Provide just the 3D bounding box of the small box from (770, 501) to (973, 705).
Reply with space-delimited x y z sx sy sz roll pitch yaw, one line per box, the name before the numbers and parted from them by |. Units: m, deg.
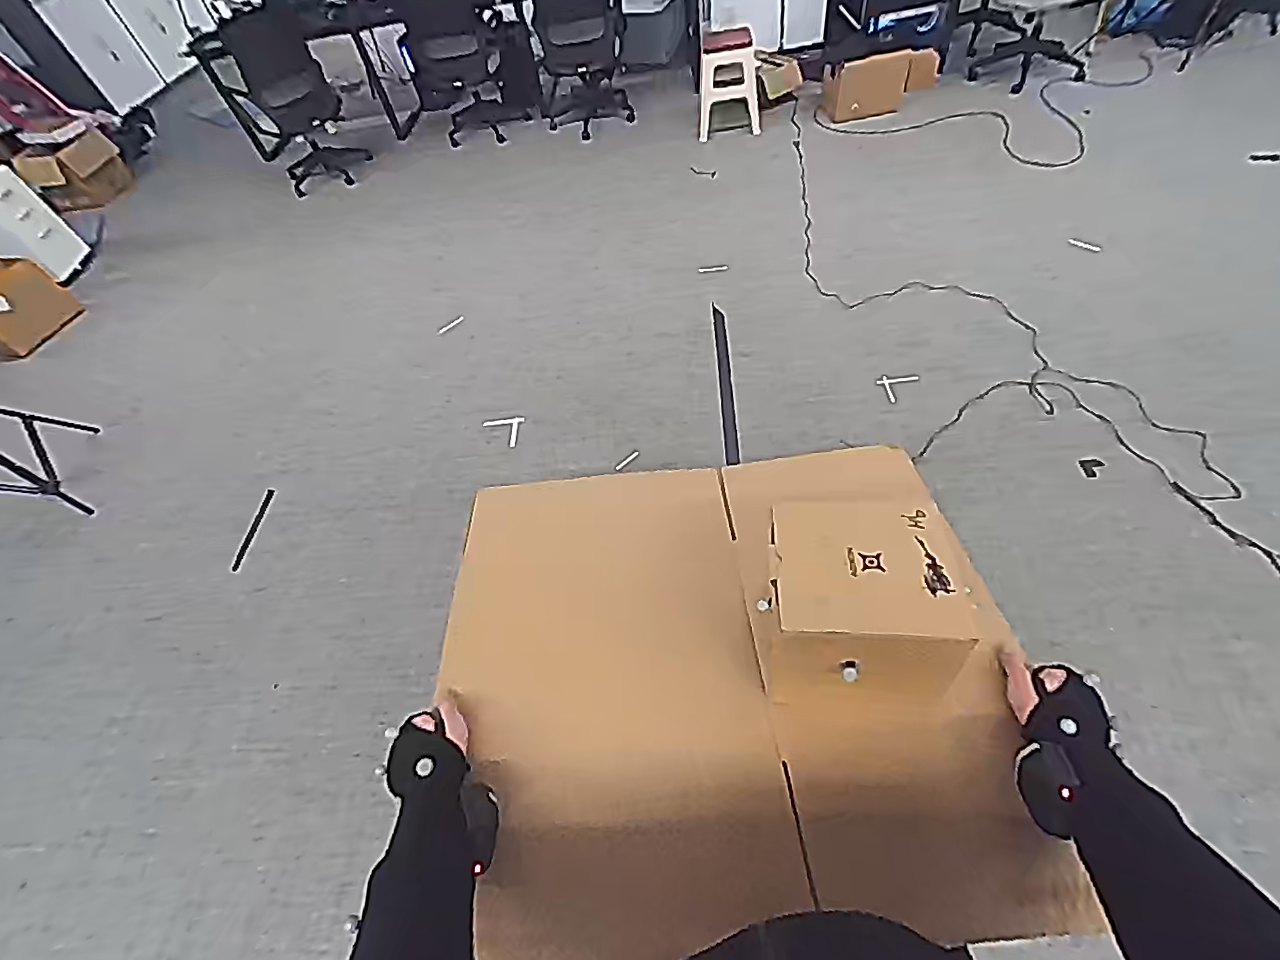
small box | 0.241 0.141 0.614 0.179 0.176 0.168 -1 47 11
